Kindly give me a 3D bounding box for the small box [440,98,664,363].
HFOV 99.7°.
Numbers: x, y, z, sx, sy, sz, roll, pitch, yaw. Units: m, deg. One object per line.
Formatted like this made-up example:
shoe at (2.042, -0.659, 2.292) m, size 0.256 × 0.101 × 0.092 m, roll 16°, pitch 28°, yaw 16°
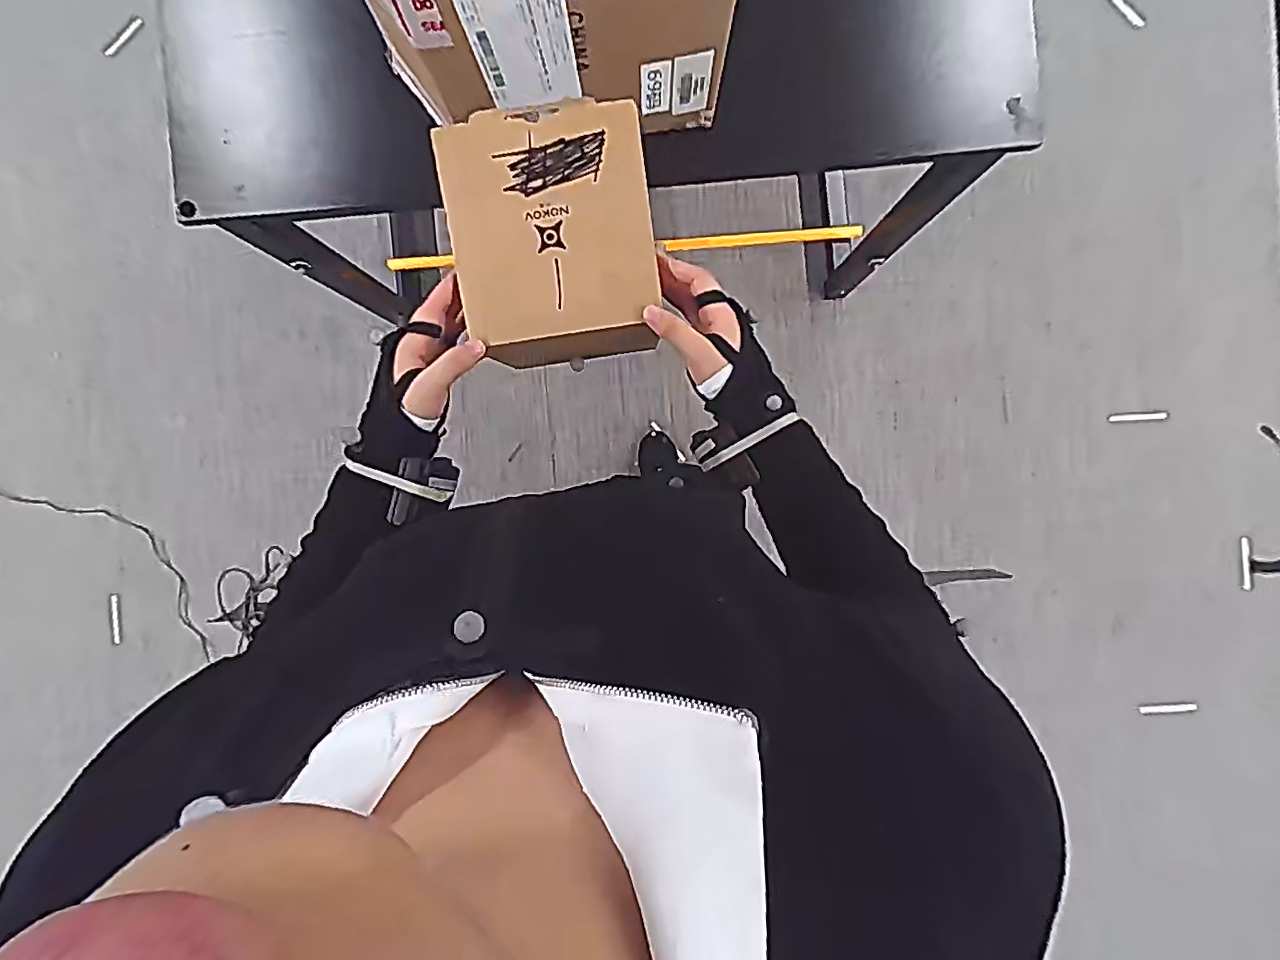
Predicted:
small box at (-0.073, -0.221, 0.524) m, size 0.168 × 0.176 × 0.179 m, roll -8°, pitch 96°, yaw 0°
